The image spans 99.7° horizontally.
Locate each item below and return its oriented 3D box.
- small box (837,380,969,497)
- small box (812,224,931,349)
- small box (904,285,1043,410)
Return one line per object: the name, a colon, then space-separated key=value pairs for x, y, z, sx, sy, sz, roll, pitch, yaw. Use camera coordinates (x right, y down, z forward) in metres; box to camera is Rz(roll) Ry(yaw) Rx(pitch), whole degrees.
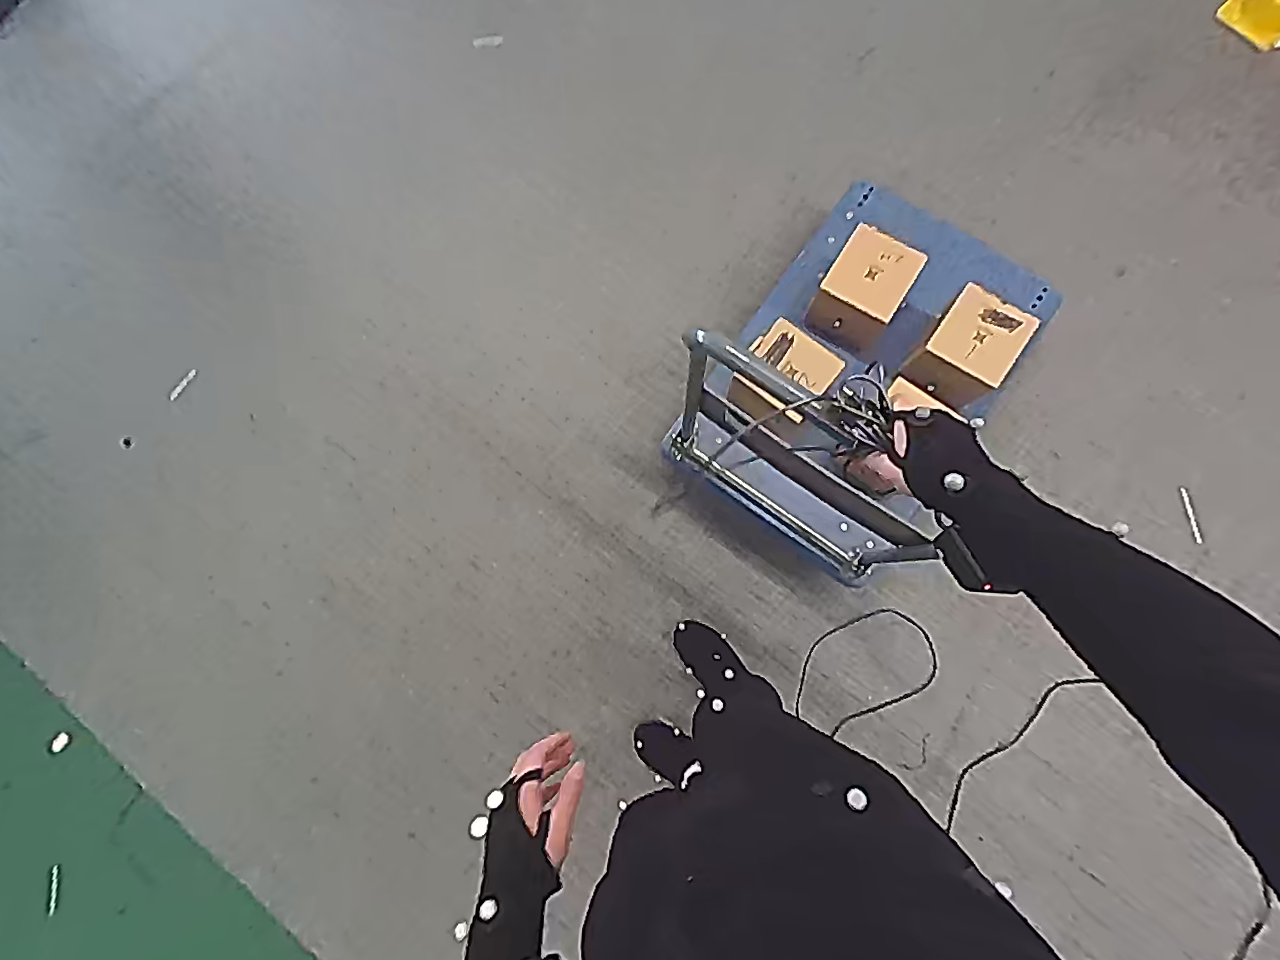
small box: x=0.557 y=-0.083 z=1.176 sx=0.168 sy=0.176 sz=0.179 roll=38 pitch=88 yaw=9
small box: x=0.510 y=-0.428 z=1.226 sx=0.168 sy=0.176 sz=0.179 roll=33 pitch=86 yaw=8
small box: x=0.718 y=-0.282 z=1.188 sx=0.168 sy=0.176 sz=0.179 roll=35 pitch=87 yaw=9
